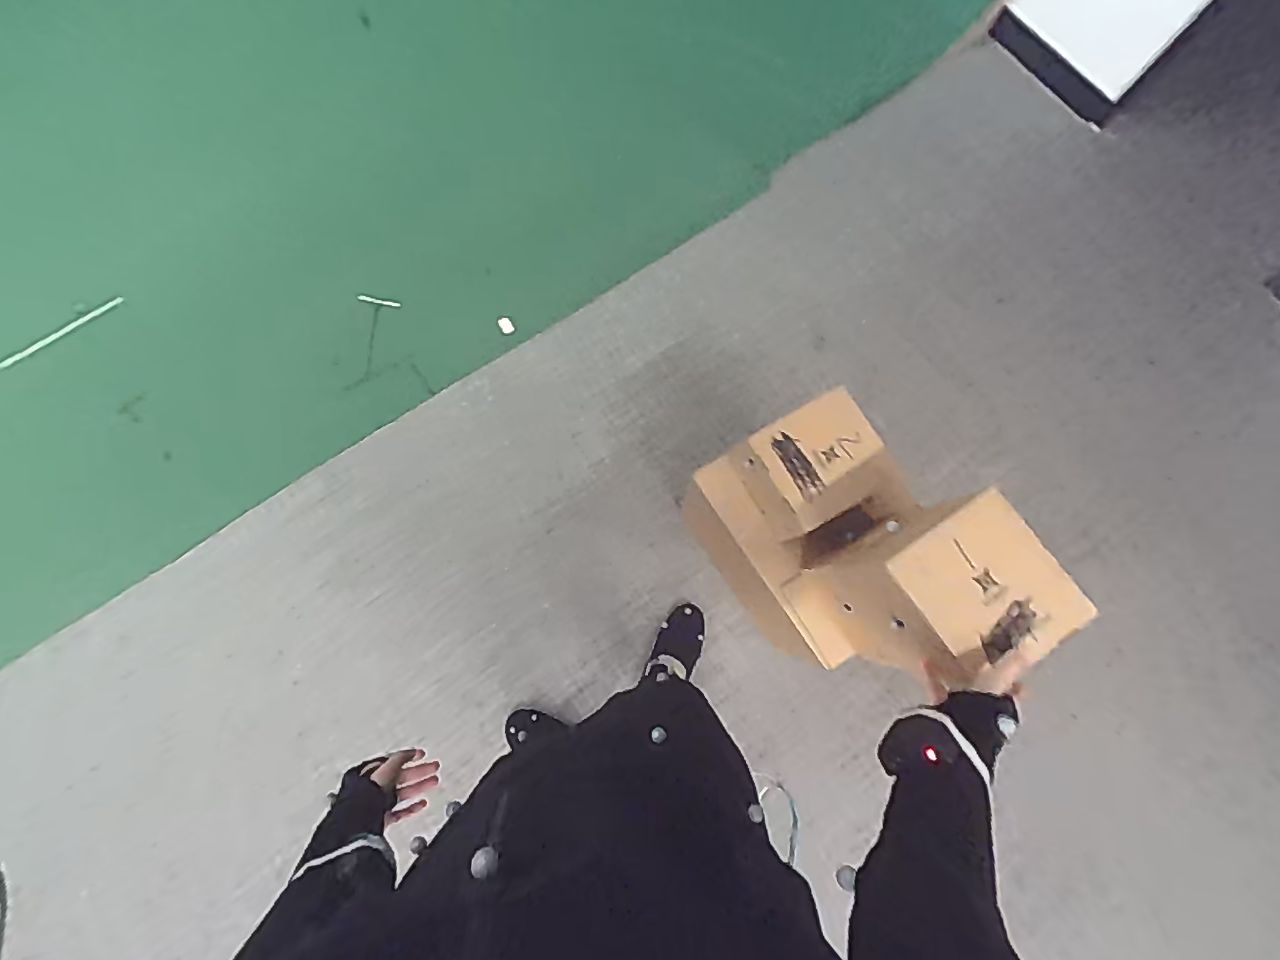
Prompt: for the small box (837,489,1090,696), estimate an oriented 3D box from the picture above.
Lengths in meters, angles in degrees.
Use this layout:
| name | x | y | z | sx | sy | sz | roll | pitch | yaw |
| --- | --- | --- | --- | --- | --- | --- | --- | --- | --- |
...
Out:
| name | x | y | z | sx | sy | sz | roll | pitch | yaw |
| --- | --- | --- | --- | --- | --- | --- | --- | --- | --- |
| small box | 0.386 | 0.137 | 0.681 | 0.168 | 0.176 | 0.179 | -33 | 79 | -6 |
